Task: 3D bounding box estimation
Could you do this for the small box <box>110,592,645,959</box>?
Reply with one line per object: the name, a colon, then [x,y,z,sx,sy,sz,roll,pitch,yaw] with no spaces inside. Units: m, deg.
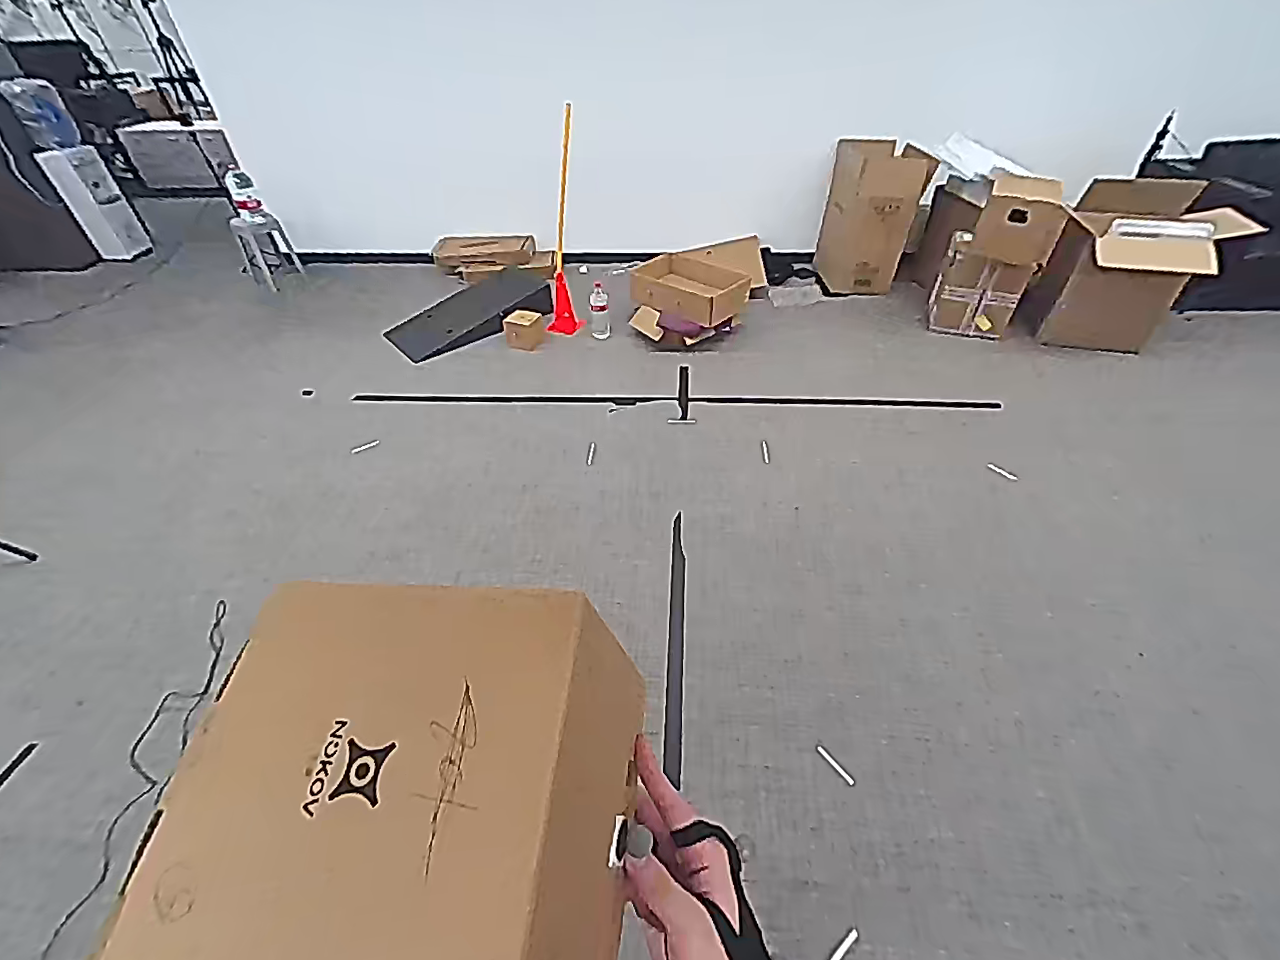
small box: [-0.102,0.172,0.300,0.179,0.176,0.168,-2,56,11]
